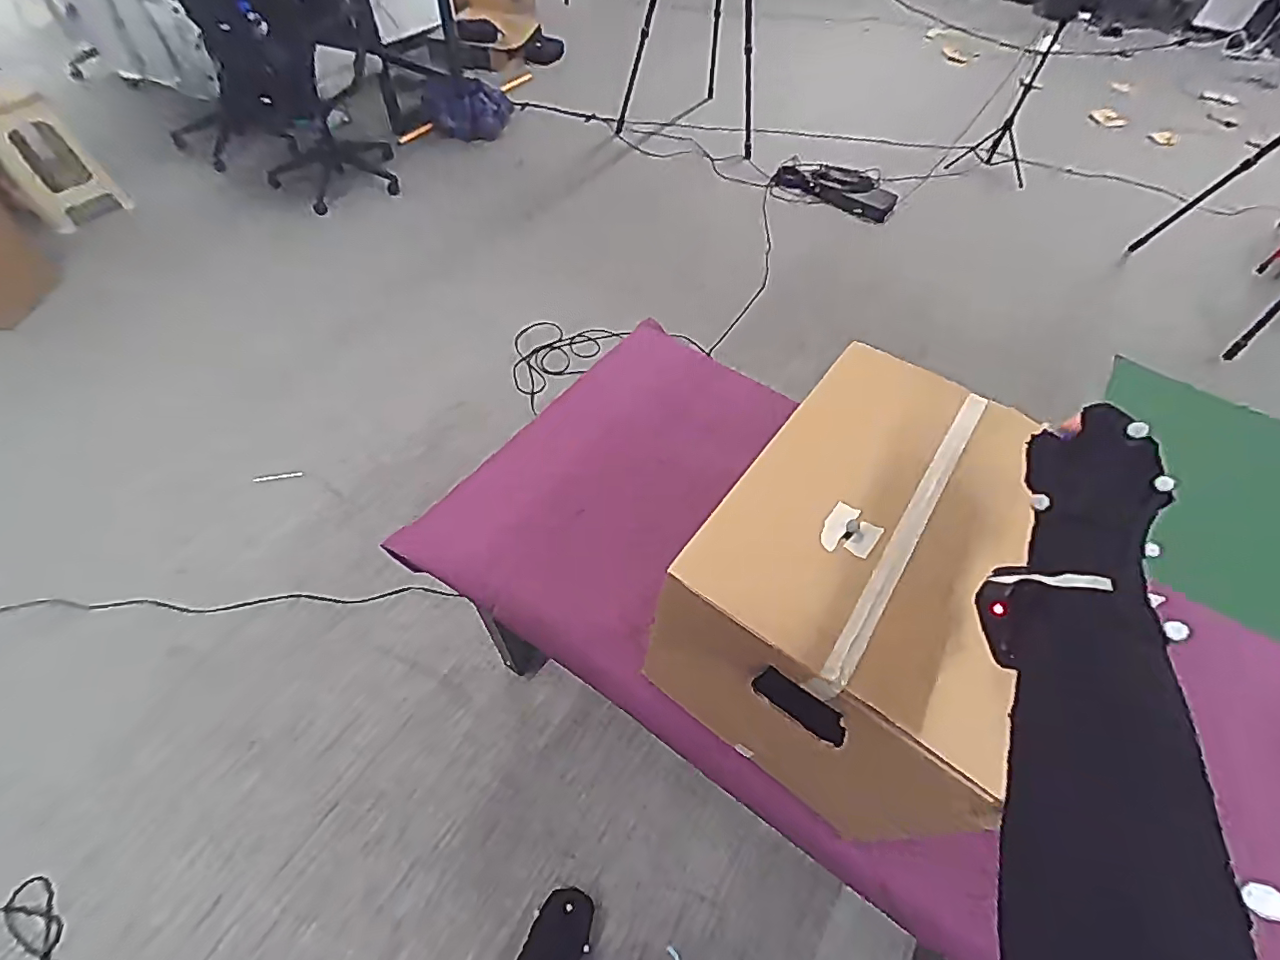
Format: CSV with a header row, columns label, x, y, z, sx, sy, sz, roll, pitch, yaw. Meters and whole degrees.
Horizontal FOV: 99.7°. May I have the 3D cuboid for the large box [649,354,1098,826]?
label,x,y,z,sx,sy,sz,roll,pitch,yaw
large box,0.256,0.128,0.661,0.320,0.320,0.408,33,59,18
